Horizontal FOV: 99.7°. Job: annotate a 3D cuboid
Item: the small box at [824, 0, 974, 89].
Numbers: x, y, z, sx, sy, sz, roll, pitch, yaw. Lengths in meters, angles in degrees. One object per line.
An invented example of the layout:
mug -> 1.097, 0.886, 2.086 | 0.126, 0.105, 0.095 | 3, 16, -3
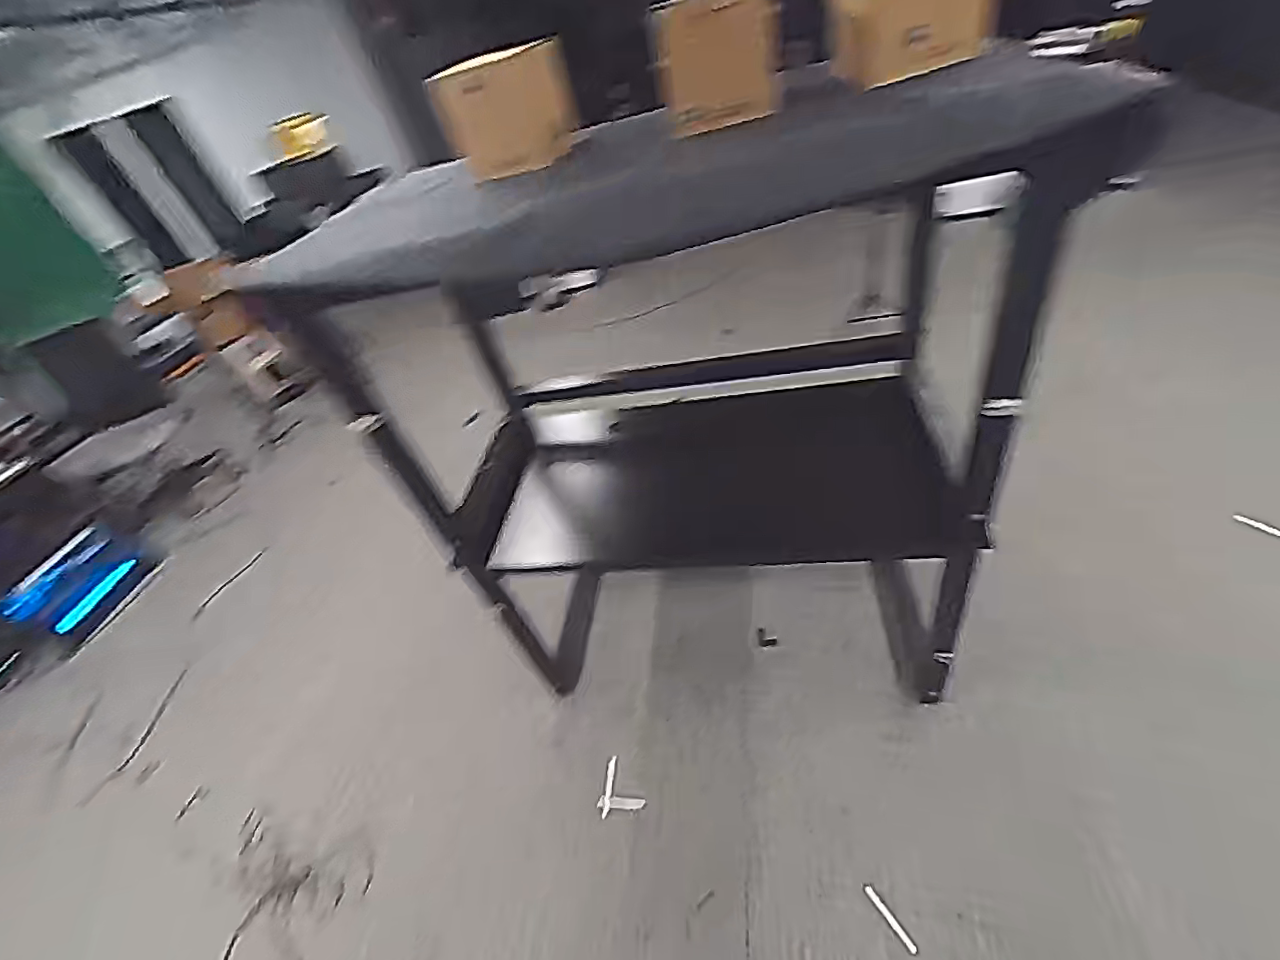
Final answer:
small box -> 0.389, -0.729, 0.831 | 0.168, 0.176, 0.179 | -14, 43, 6

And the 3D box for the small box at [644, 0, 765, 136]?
small box -> 0.110, -0.685, 0.885 | 0.168, 0.176, 0.179 | -7, 41, 12

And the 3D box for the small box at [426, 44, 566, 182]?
small box -> -0.250, -0.673, 0.997 | 0.168, 0.176, 0.179 | -2, 43, 17
